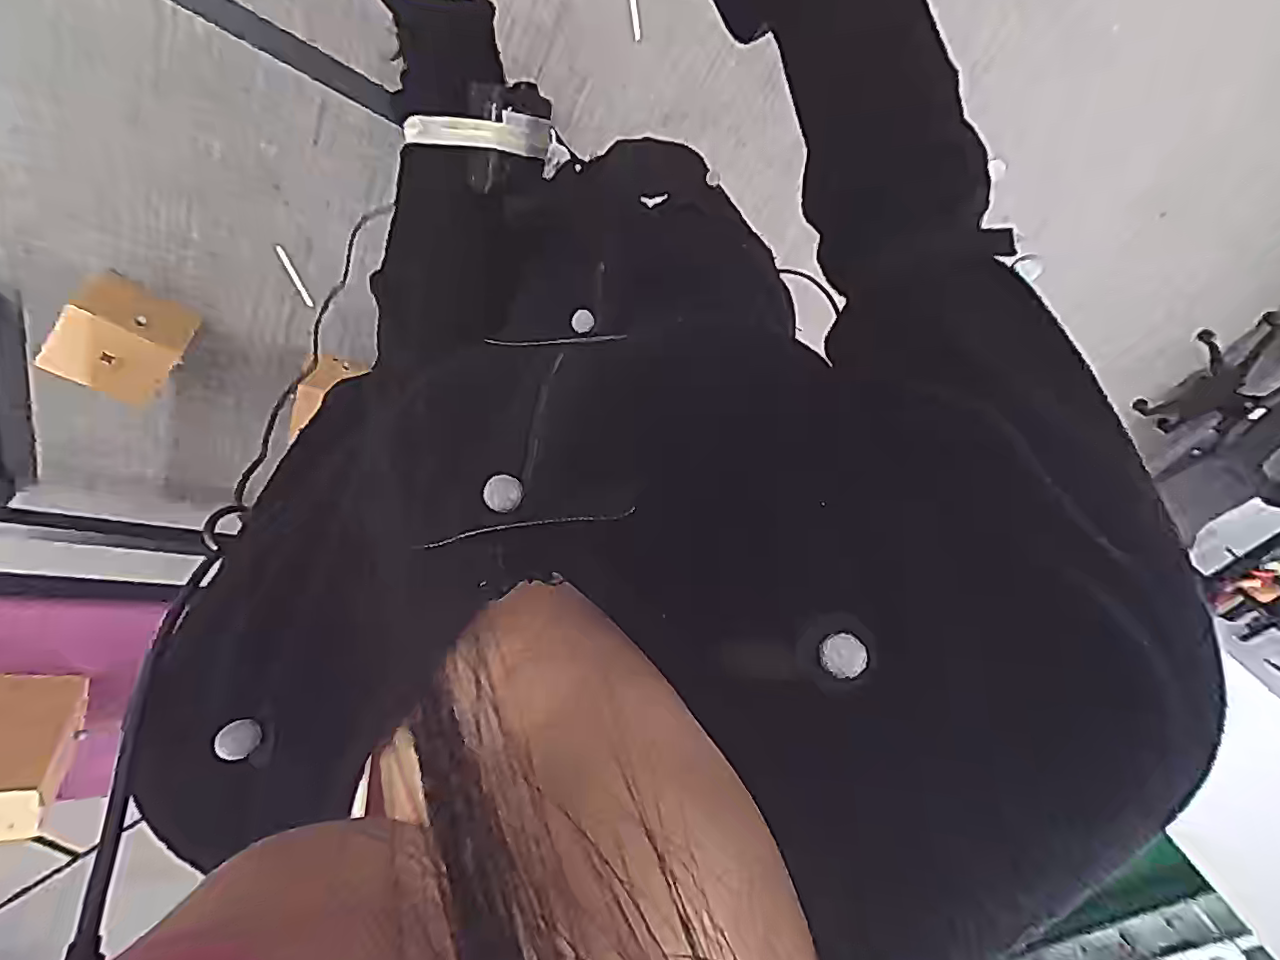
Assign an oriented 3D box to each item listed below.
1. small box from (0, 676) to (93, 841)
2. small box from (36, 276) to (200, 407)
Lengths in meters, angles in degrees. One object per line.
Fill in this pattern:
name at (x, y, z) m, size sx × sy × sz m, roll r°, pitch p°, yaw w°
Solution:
small box at (-0.928, 0.391, 0.763) m, size 0.179 × 0.176 × 0.168 m, roll 15°, pitch 126°, yaw -35°
small box at (-1.056, -0.290, 1.109) m, size 0.168 × 0.176 × 0.179 m, roll -41°, pitch 136°, yaw 17°
